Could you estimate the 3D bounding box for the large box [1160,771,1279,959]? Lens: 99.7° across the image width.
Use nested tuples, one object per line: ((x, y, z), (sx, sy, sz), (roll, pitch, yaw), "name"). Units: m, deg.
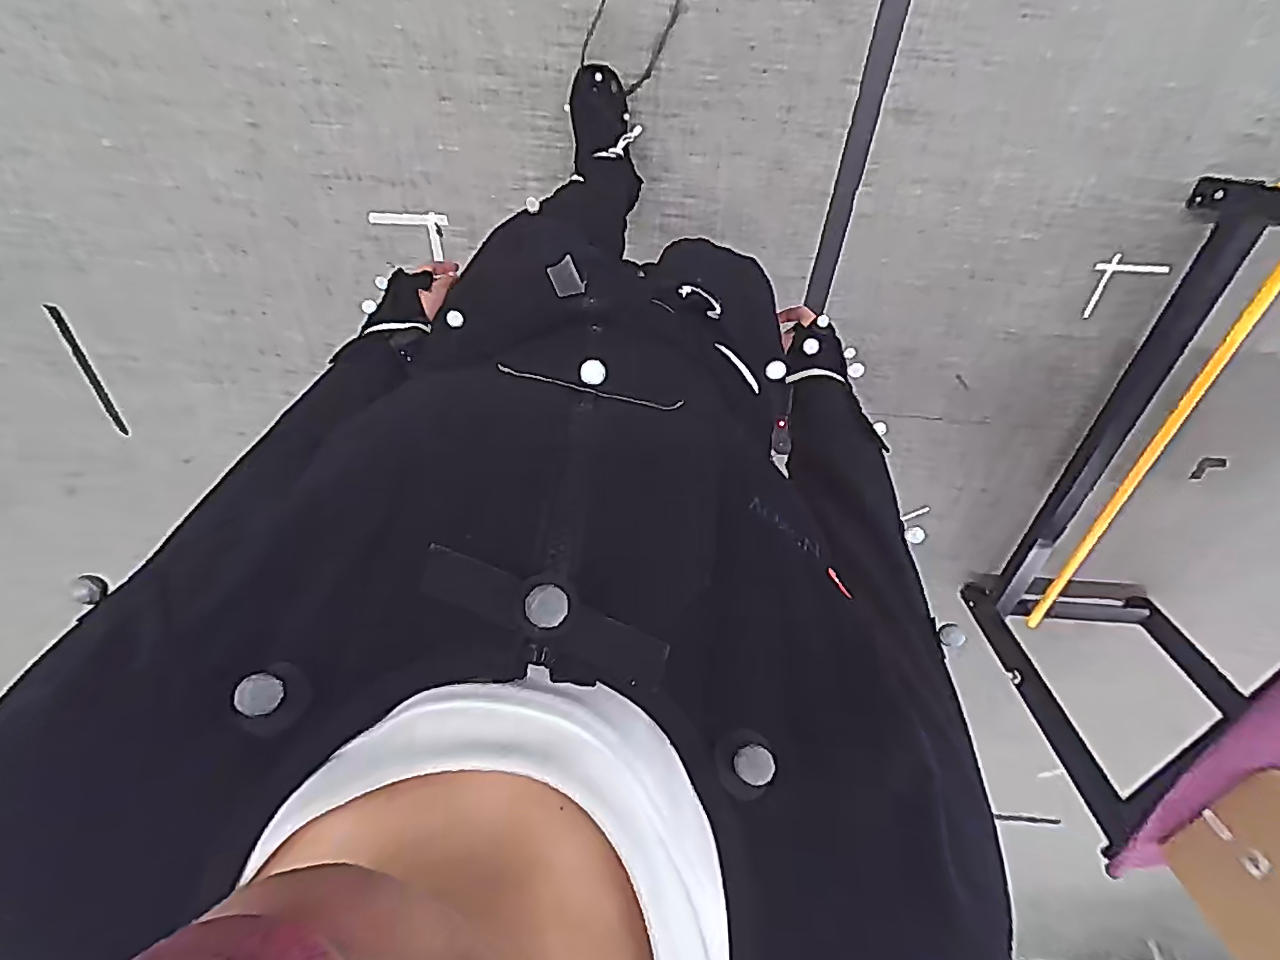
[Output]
((1.225, 0.705, 0.871), (0.408, 0.320, 0.320), (3, 125, 0), "large box")
